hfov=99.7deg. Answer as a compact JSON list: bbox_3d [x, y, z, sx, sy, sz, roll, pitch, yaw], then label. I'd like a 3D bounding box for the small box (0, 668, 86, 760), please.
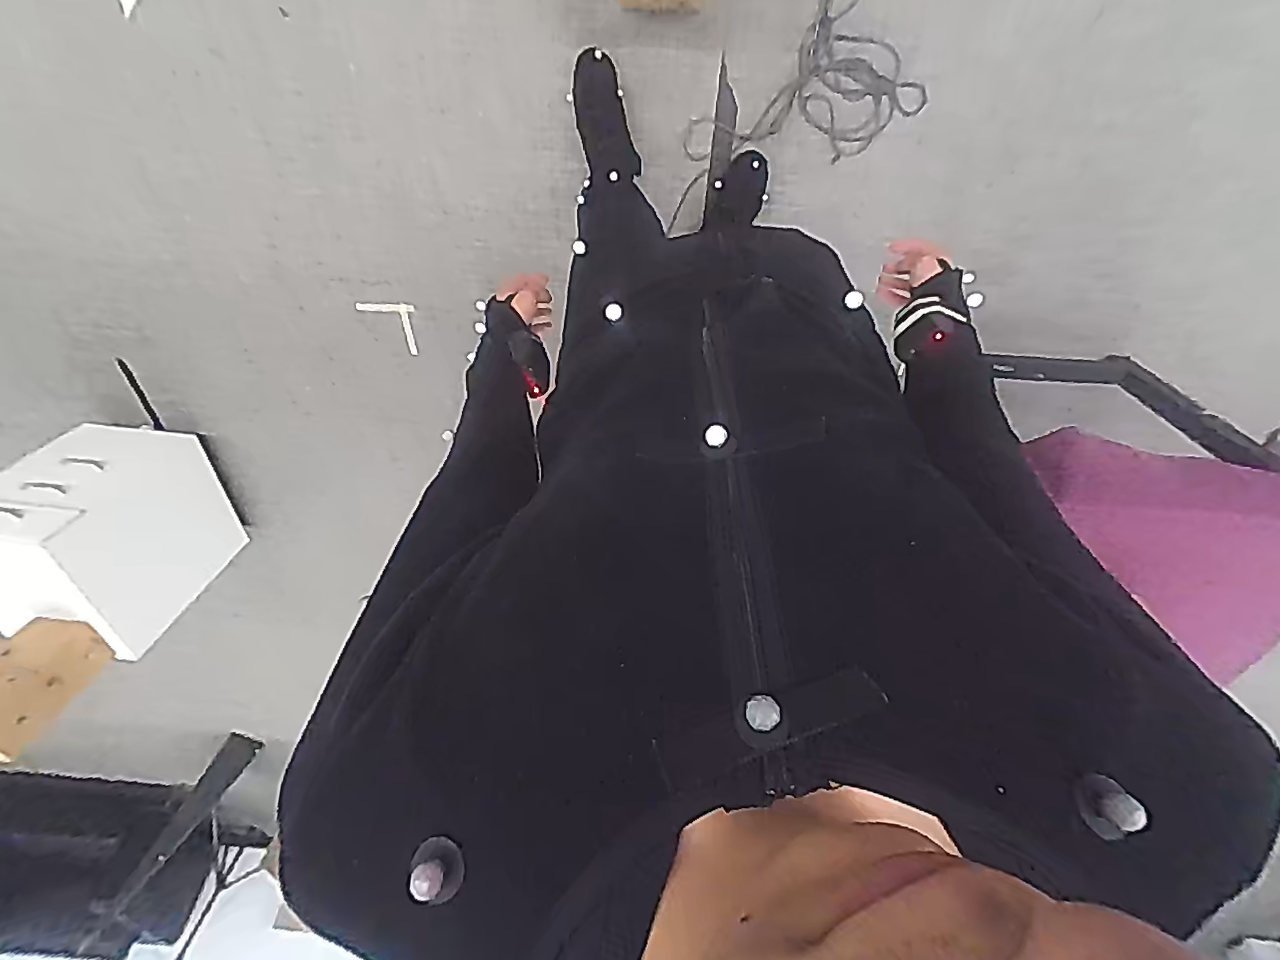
[{"bbox_3d":[-1.728,0.644,1.499,0.168,0.176,0.179,6,128,3],"label":"small box"}]

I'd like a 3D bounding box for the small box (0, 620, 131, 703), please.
[{"bbox_3d":[-1.719,0.543,1.629,0.179,0.176,0.168,5,128,3],"label":"small box"}]

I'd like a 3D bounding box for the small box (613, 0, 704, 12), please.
[{"bbox_3d":[0.038,-0.997,1.017,0.179,0.176,0.168,3,127,3],"label":"small box"}]
